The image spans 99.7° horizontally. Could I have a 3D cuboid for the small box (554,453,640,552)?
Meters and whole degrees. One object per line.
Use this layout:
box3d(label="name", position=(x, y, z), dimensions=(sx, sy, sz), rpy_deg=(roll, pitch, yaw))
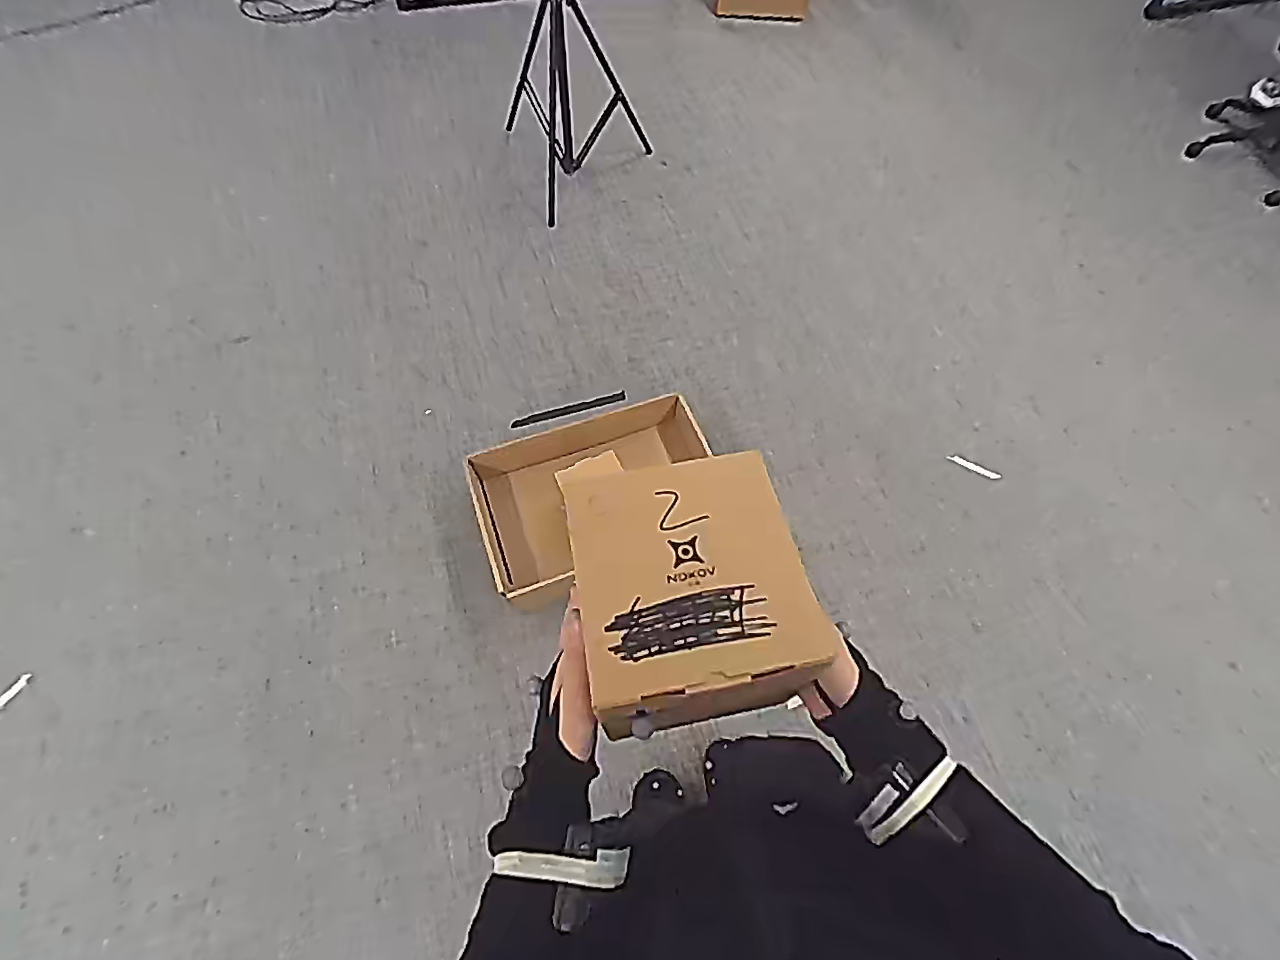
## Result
box3d(label="small box", position=(-0.112, 0.064, 1.420), dimensions=(0.168, 0.176, 0.179), rpy_deg=(-24, 68, -13))
